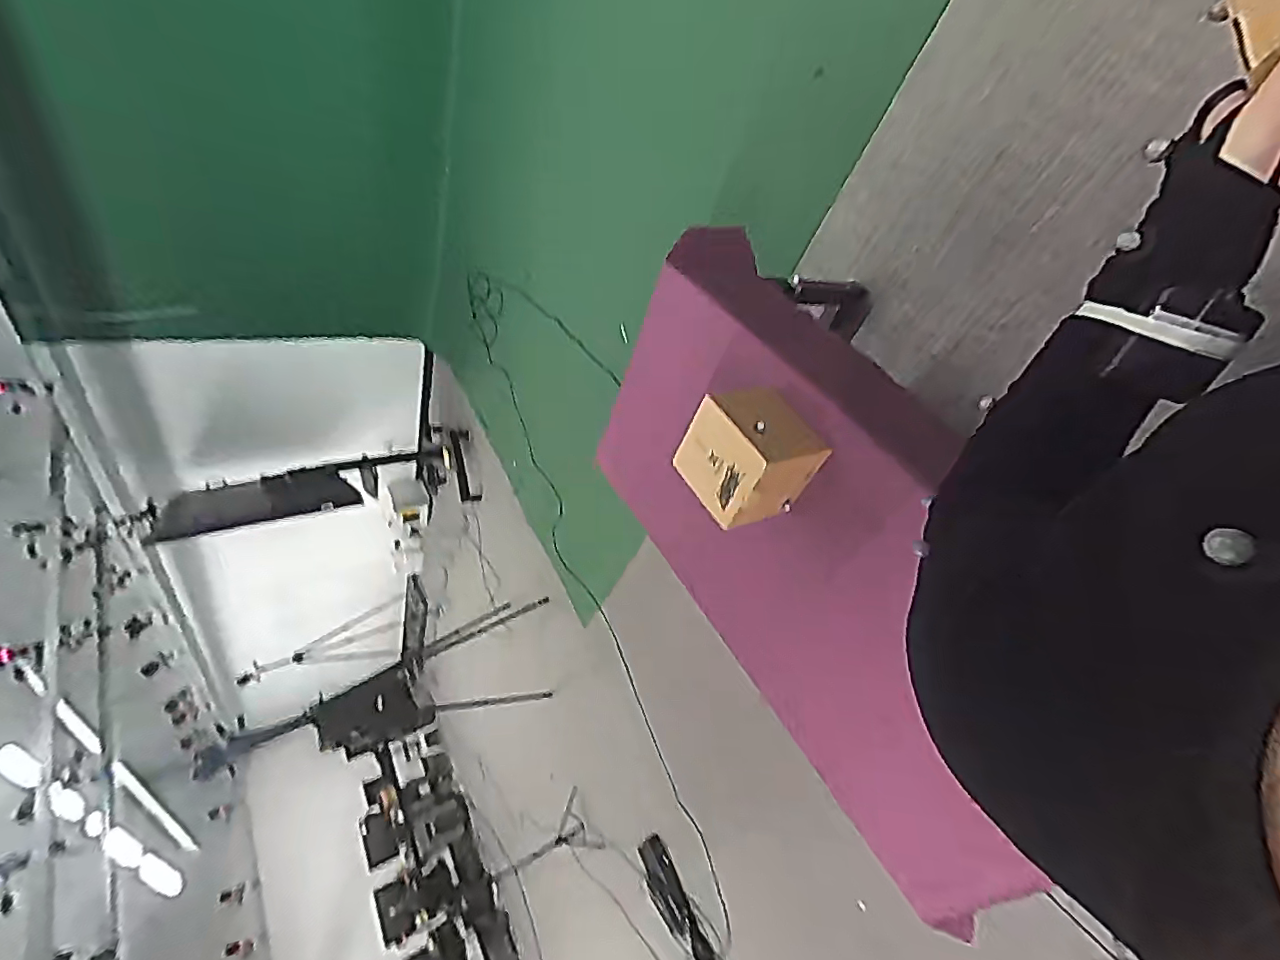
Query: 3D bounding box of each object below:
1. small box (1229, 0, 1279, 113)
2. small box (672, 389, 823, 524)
[{"bbox_3d":[0.432,-0.325,0.274,0.179,0.176,0.168,-8,106,55],"label":"small box"},{"bbox_3d":[0.193,-0.051,0.980,0.179,0.176,0.168,55,139,30],"label":"small box"}]
